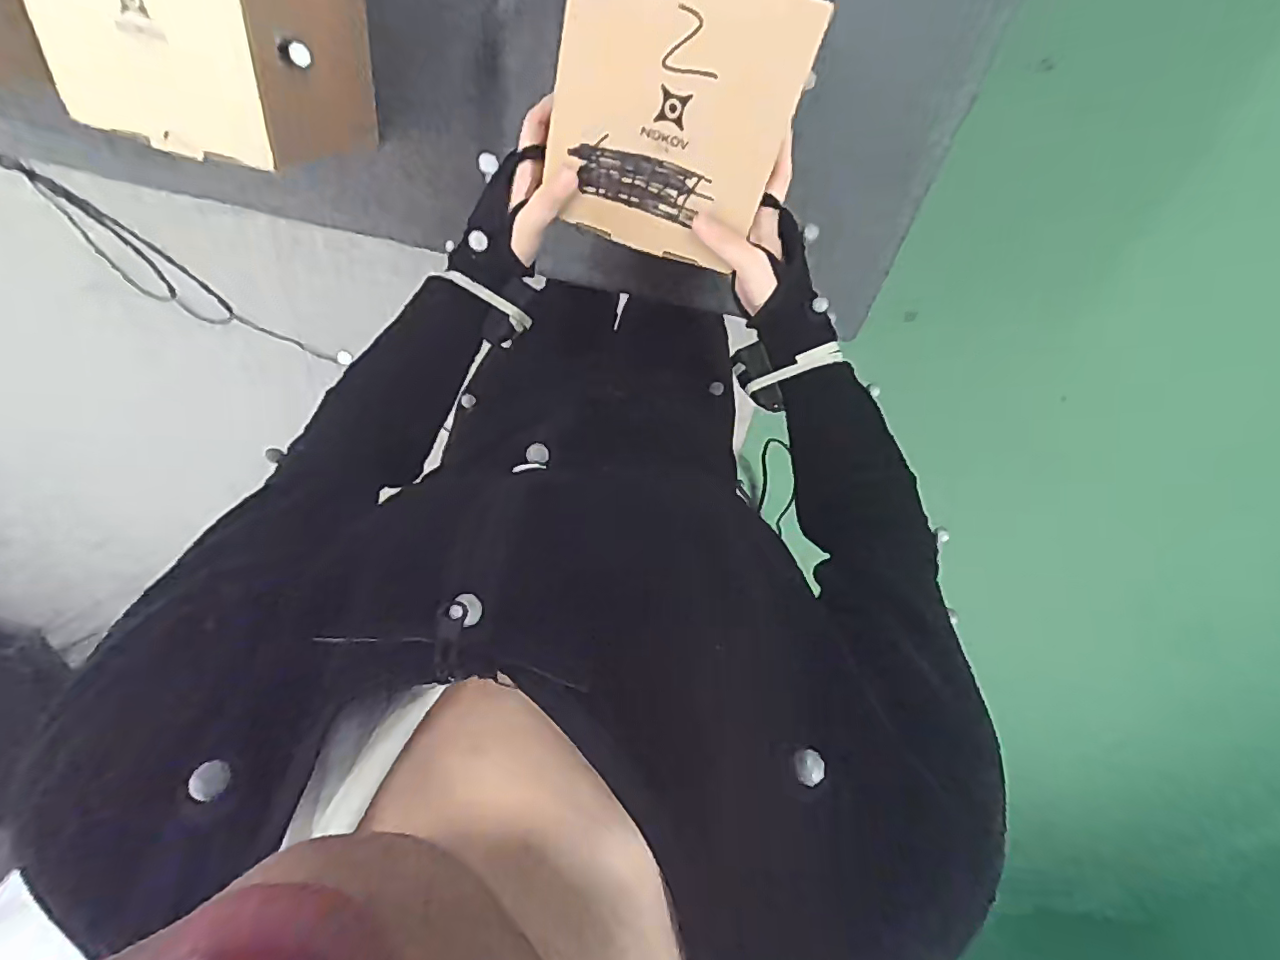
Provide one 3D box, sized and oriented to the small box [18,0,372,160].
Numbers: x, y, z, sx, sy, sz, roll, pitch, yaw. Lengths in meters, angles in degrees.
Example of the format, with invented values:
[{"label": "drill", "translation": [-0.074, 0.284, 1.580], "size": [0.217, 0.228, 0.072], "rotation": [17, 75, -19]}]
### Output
[{"label": "small box", "translation": [-0.334, -0.382, 0.424], "size": [0.168, 0.176, 0.179], "rotation": [13, 129, -4]}]
